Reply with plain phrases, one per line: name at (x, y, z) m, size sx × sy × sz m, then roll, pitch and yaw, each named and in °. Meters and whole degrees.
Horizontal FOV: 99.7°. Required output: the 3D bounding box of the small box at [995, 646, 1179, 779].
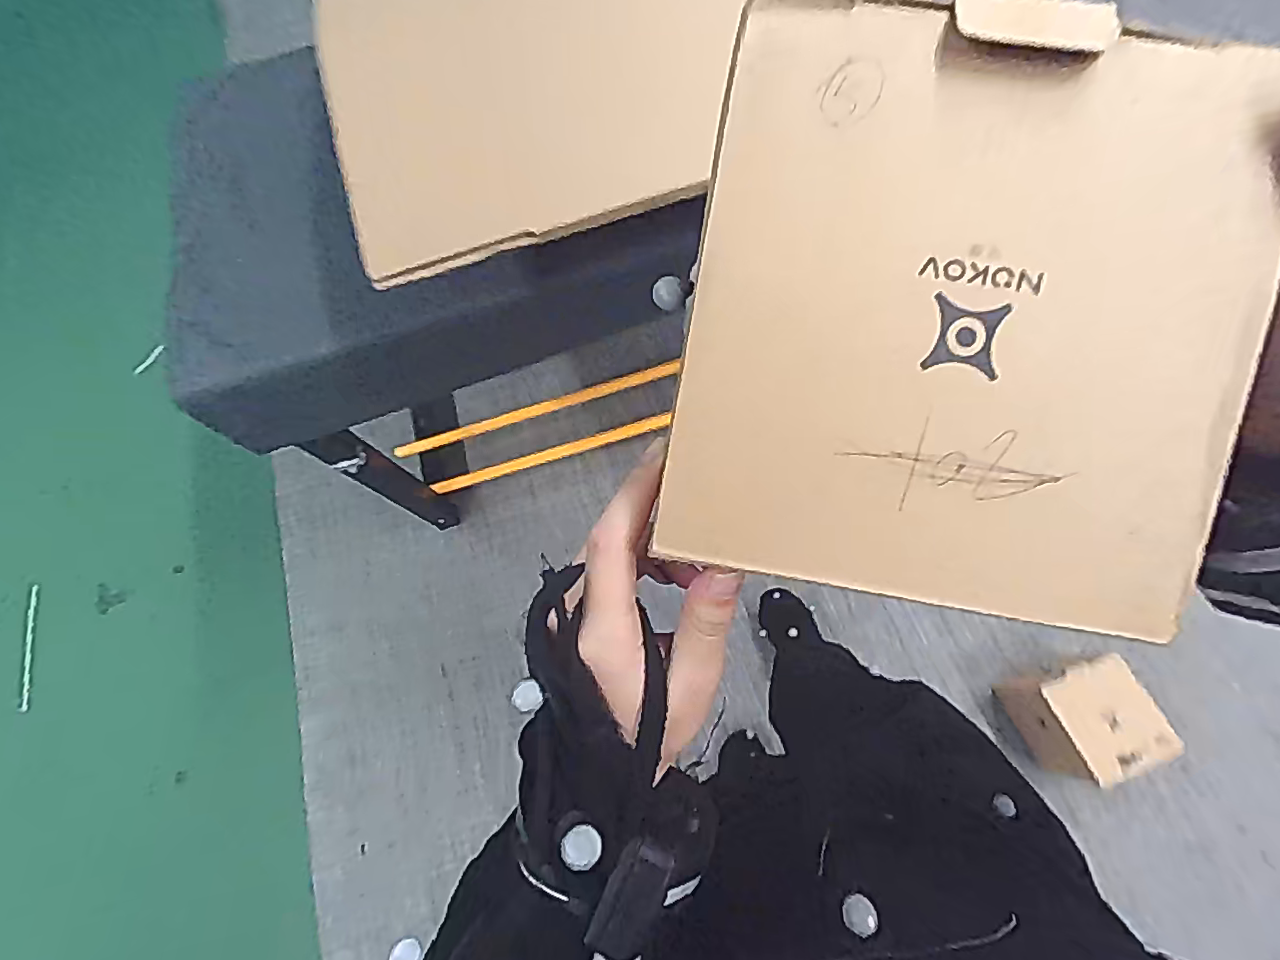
small box at (0.829, 0.437, 1.029) m, size 0.168 × 0.176 × 0.179 m, roll -23°, pitch 69°, yaw -3°
